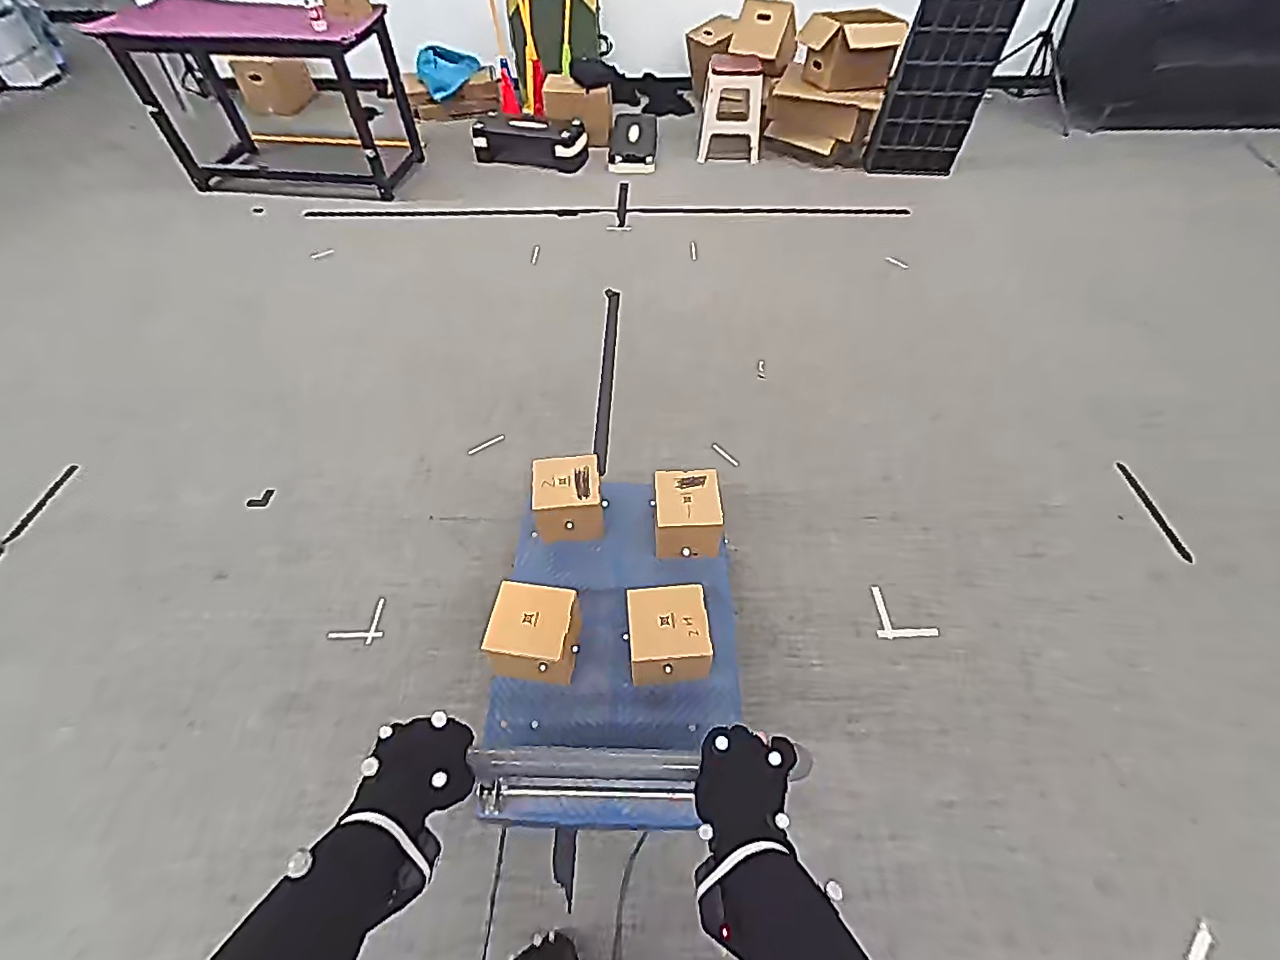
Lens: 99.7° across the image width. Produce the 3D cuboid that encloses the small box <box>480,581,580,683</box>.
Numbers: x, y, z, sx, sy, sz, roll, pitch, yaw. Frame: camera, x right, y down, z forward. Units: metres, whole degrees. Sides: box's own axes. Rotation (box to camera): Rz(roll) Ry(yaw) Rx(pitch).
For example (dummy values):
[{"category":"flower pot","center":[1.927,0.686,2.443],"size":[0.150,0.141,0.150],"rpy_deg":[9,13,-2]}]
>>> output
[{"category":"small box","center":[-0.244,0.354,1.248],"size":[0.179,0.176,0.168],"rpy_deg":[7,52,4]}]

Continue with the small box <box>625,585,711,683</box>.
[{"category":"small box","center":[0.060,0.358,1.242],"size":[0.179,0.176,0.168],"rpy_deg":[-4,53,-2]}]

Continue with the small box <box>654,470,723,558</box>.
[{"category":"small box","center":[0.122,0.093,1.444],"size":[0.168,0.176,0.179],"rpy_deg":[-2,53,0]}]
